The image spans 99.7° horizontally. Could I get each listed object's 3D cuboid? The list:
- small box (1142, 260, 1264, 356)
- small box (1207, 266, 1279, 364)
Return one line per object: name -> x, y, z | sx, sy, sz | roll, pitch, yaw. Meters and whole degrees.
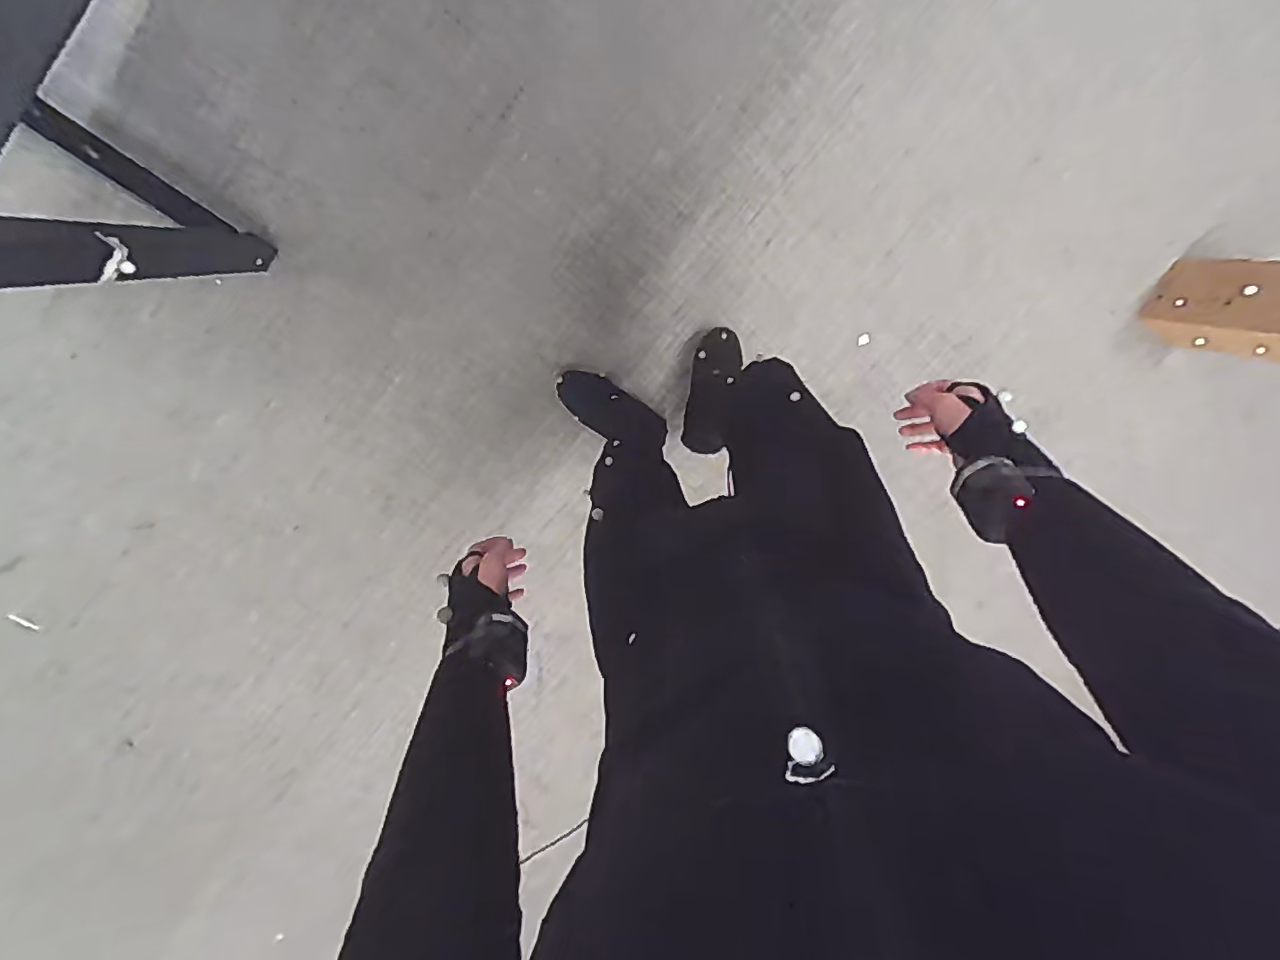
small box -> 1.433, -0.431, 1.352 | 0.179, 0.176, 0.168 | 22, 108, -19
small box -> 1.453, -0.365, 1.203 | 0.179, 0.176, 0.168 | 24, 107, -17
